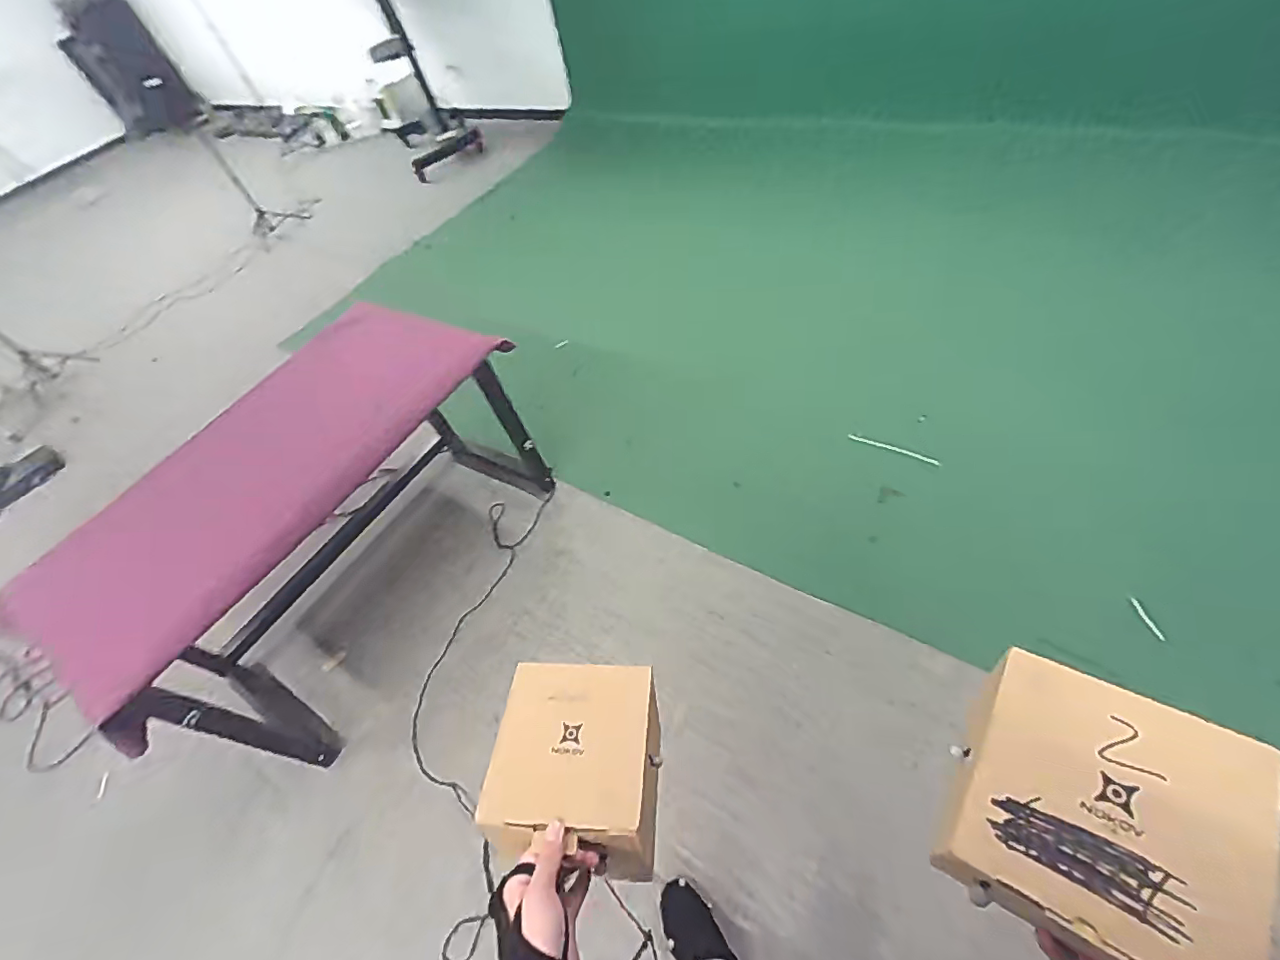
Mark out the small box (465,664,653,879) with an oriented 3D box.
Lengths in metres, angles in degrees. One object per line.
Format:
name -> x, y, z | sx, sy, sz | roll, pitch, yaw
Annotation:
small box -> -0.076, 0.339, 0.632 | 0.168, 0.176, 0.179 | -1, 40, 7
